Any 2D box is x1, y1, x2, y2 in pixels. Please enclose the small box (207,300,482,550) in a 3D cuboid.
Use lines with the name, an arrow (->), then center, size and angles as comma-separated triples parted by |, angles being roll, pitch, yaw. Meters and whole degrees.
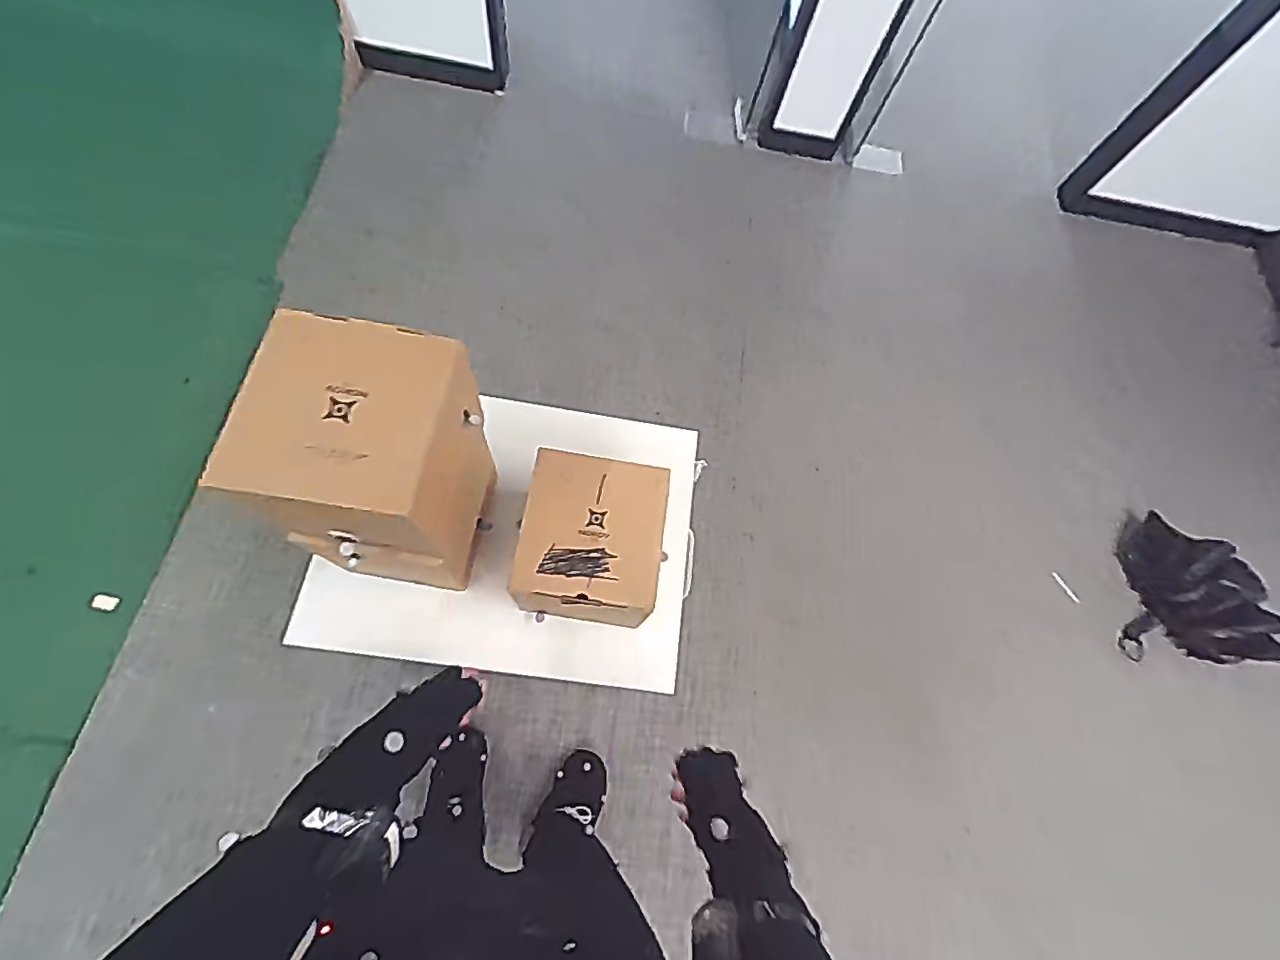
small box -> -0.262, -0.042, 0.536 | 0.168, 0.176, 0.179 | 9, 70, -4

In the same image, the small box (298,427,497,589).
small box -> -0.290, 0.028, 0.697 | 0.168, 0.176, 0.179 | 11, 67, -2

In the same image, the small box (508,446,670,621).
small box -> -0.063, 0.080, 0.706 | 0.168, 0.176, 0.179 | 10, 67, -3
